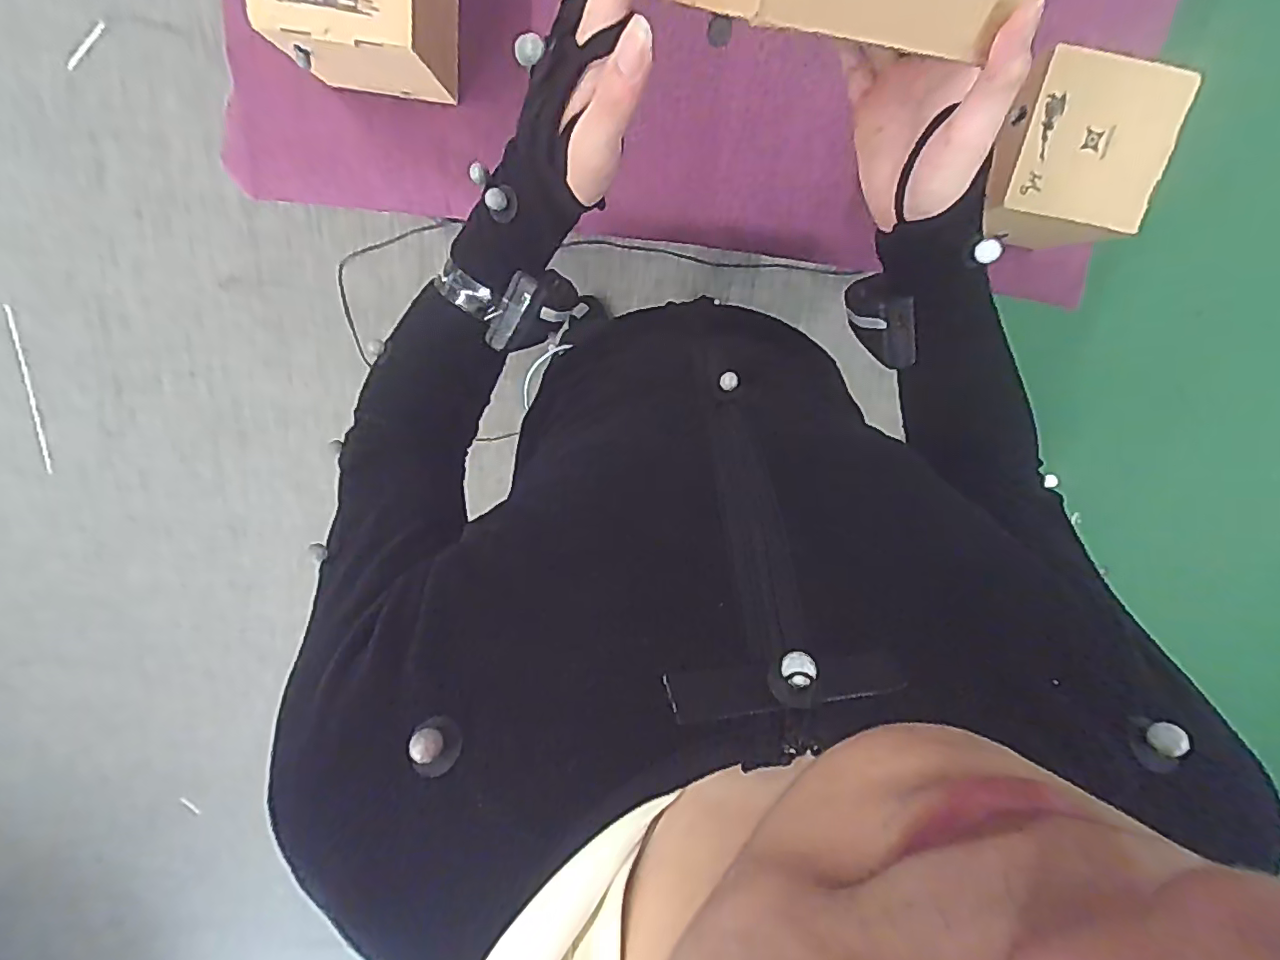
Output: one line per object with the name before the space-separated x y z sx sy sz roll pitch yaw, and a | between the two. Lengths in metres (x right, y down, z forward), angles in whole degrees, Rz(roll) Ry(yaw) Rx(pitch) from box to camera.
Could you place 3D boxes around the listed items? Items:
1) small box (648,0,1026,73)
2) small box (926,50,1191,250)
small box | 0.096 -0.322 0.252 0.168 0.176 0.179 -12 138 -25
small box | 0.513 -0.402 0.694 0.179 0.176 0.168 9 106 -5
